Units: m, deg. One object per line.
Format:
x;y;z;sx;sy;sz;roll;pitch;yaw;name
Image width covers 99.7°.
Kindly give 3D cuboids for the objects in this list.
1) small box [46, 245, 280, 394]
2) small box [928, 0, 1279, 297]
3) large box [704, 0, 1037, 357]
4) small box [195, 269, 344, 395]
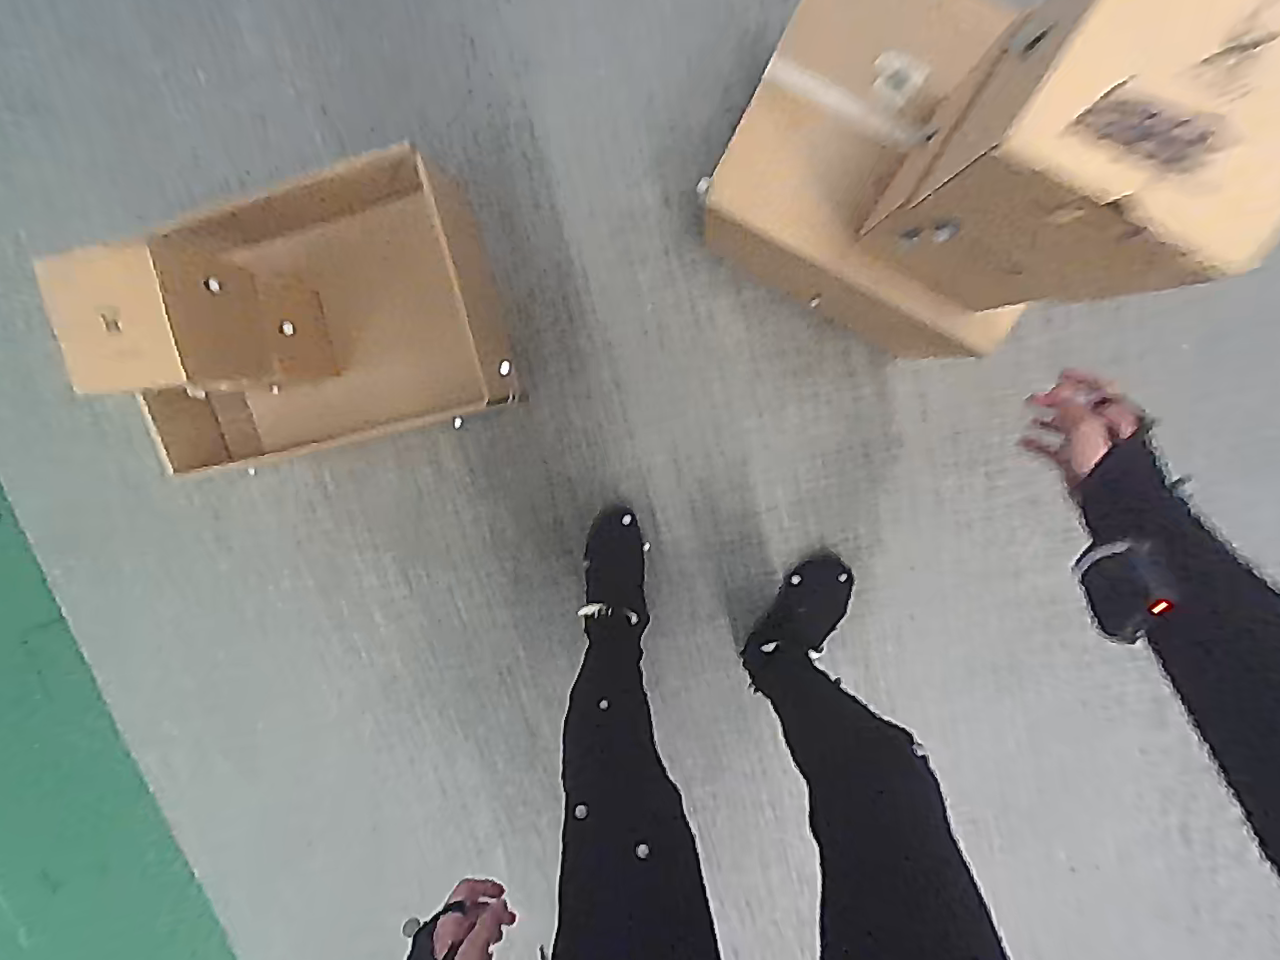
-0.668;-0.221;0.781;0.168;0.176;0.179;-5;102;5;small box
0.339;-0.250;0.380;0.168;0.176;0.179;30;103;0;small box
0.342;-0.401;0.770;0.408;0.320;0.320;29;103;1;large box
-0.656;-0.250;0.941;0.168;0.176;0.179;-9;102;5;small box
